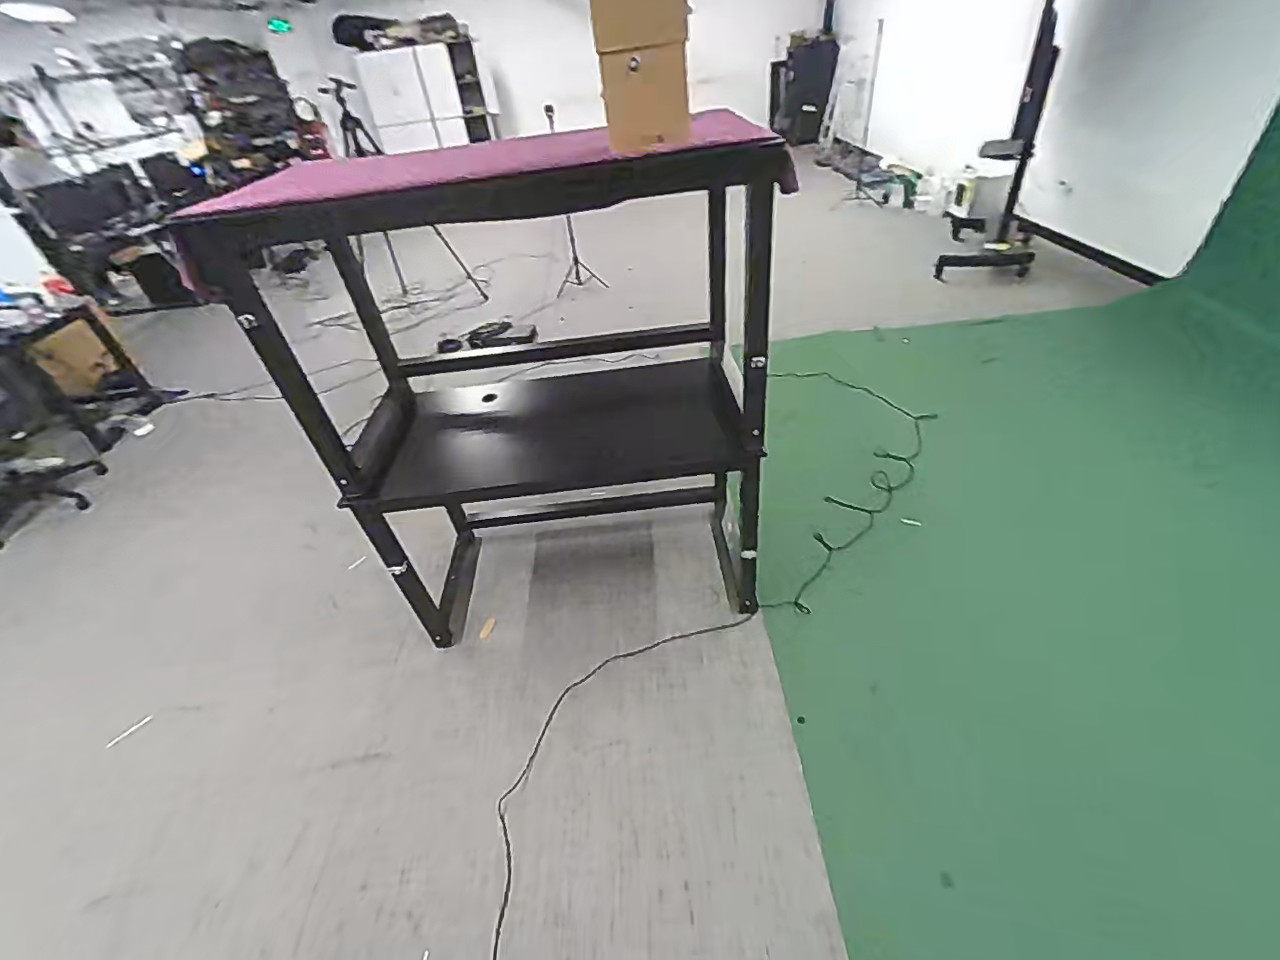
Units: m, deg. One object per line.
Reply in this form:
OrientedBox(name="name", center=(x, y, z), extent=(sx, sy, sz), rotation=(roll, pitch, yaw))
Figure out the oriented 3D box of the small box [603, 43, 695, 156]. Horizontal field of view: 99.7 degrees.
OrientedBox(name="small box", center=(0.024, -0.774, 1.104), extent=(0.168, 0.176, 0.179), rotation=(-5, 39, 6))
